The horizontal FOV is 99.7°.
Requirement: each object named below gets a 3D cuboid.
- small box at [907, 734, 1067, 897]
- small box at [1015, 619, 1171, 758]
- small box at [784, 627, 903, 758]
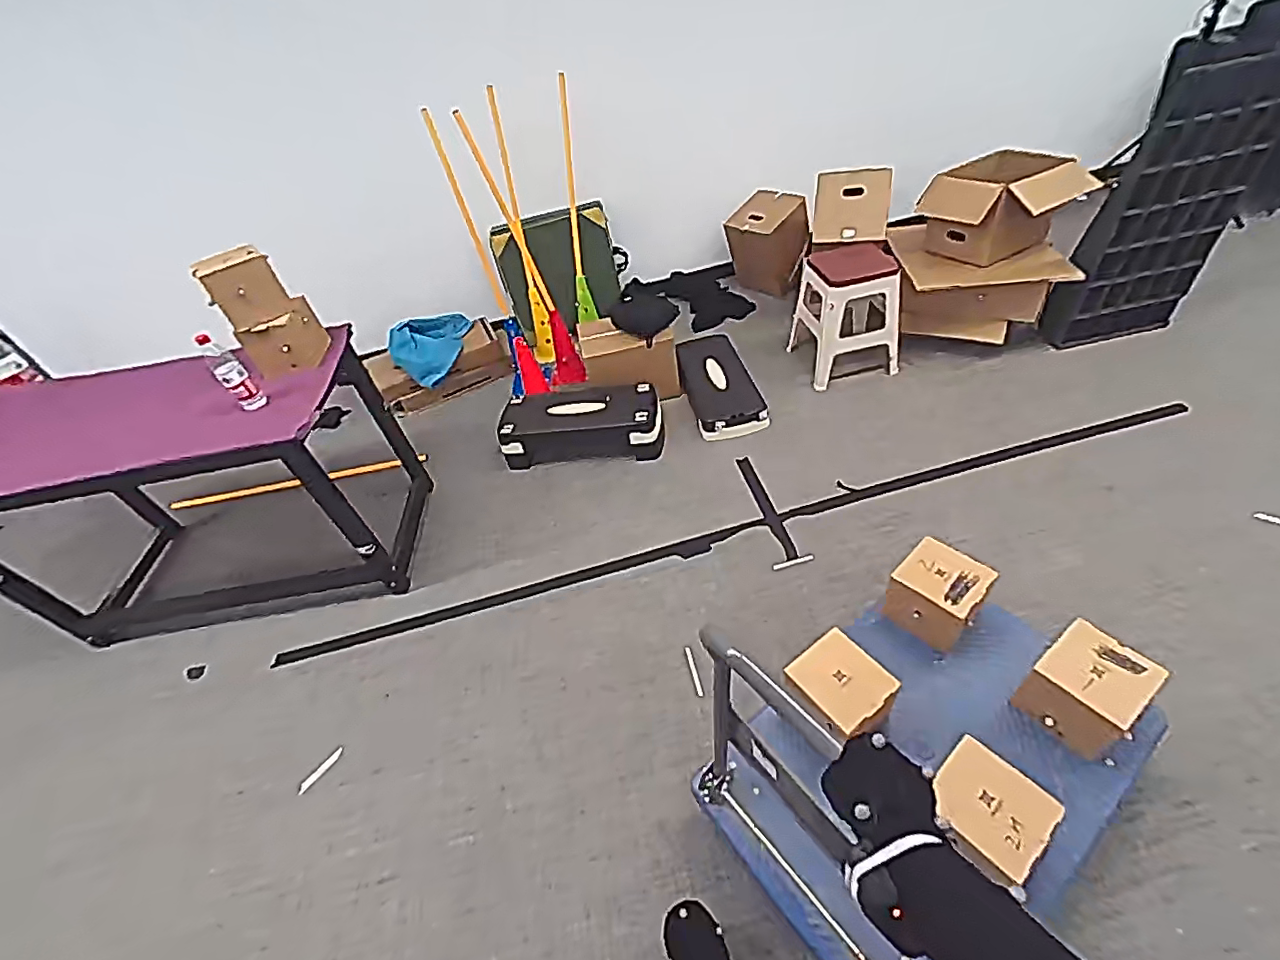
[{"bbox_3d":[0.625,0.619,0.997,0.168,0.176,0.179,-35,48,-22],"label":"small box"},{"bbox_3d":[0.924,0.432,1.122,0.179,0.176,0.168,-33,47,-18],"label":"small box"},{"bbox_3d":[0.436,0.470,1.193,0.168,0.176,0.179,-31,48,-19],"label":"small box"}]
